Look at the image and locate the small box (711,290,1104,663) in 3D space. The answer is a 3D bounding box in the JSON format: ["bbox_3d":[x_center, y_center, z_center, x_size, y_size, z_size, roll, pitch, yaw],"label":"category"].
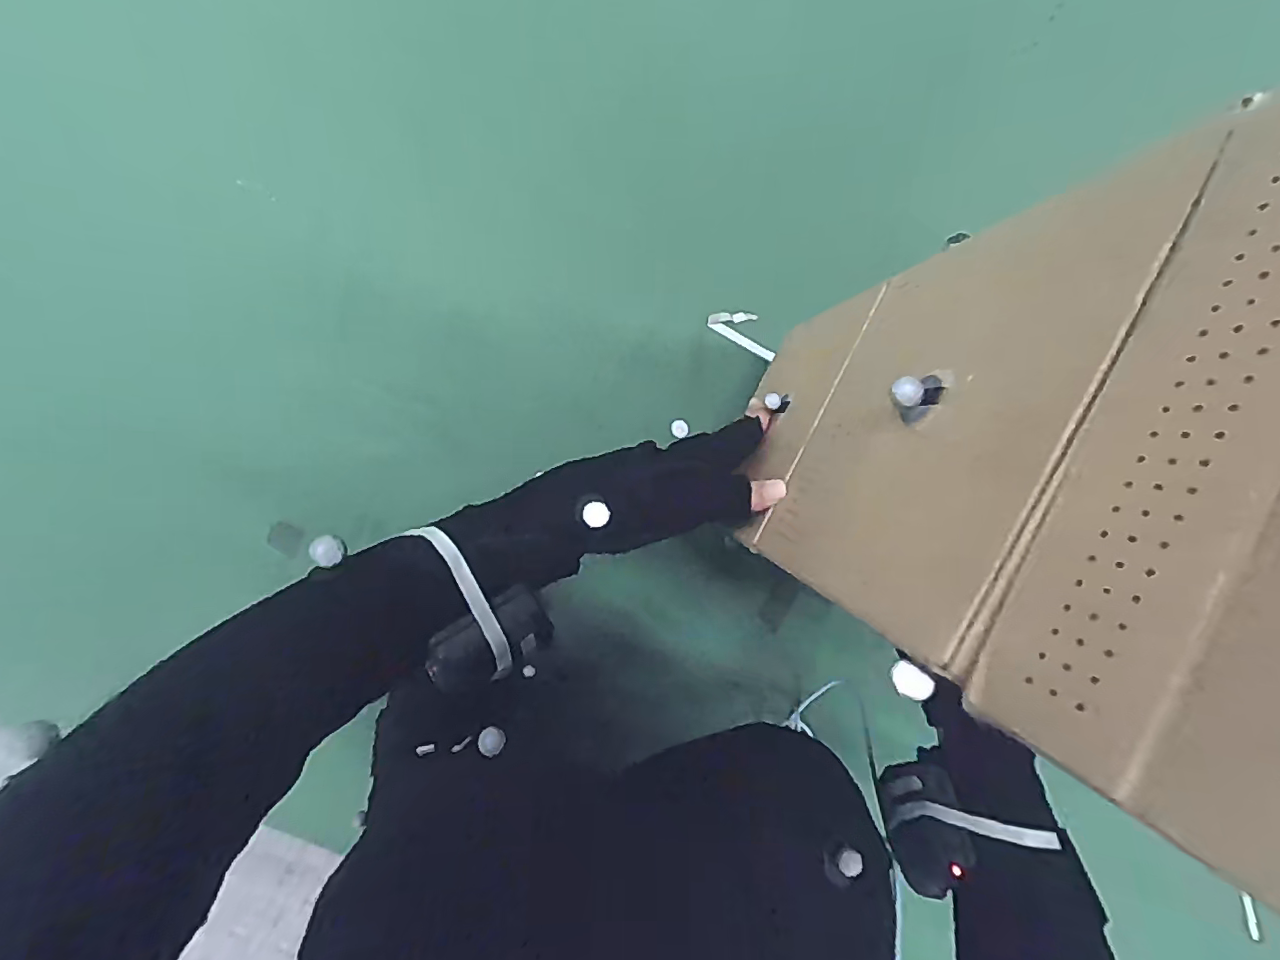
[{"bbox_3d":[0.167,-0.004,0.402,0.168,0.176,0.179,26,92,-7],"label":"small box"}]
